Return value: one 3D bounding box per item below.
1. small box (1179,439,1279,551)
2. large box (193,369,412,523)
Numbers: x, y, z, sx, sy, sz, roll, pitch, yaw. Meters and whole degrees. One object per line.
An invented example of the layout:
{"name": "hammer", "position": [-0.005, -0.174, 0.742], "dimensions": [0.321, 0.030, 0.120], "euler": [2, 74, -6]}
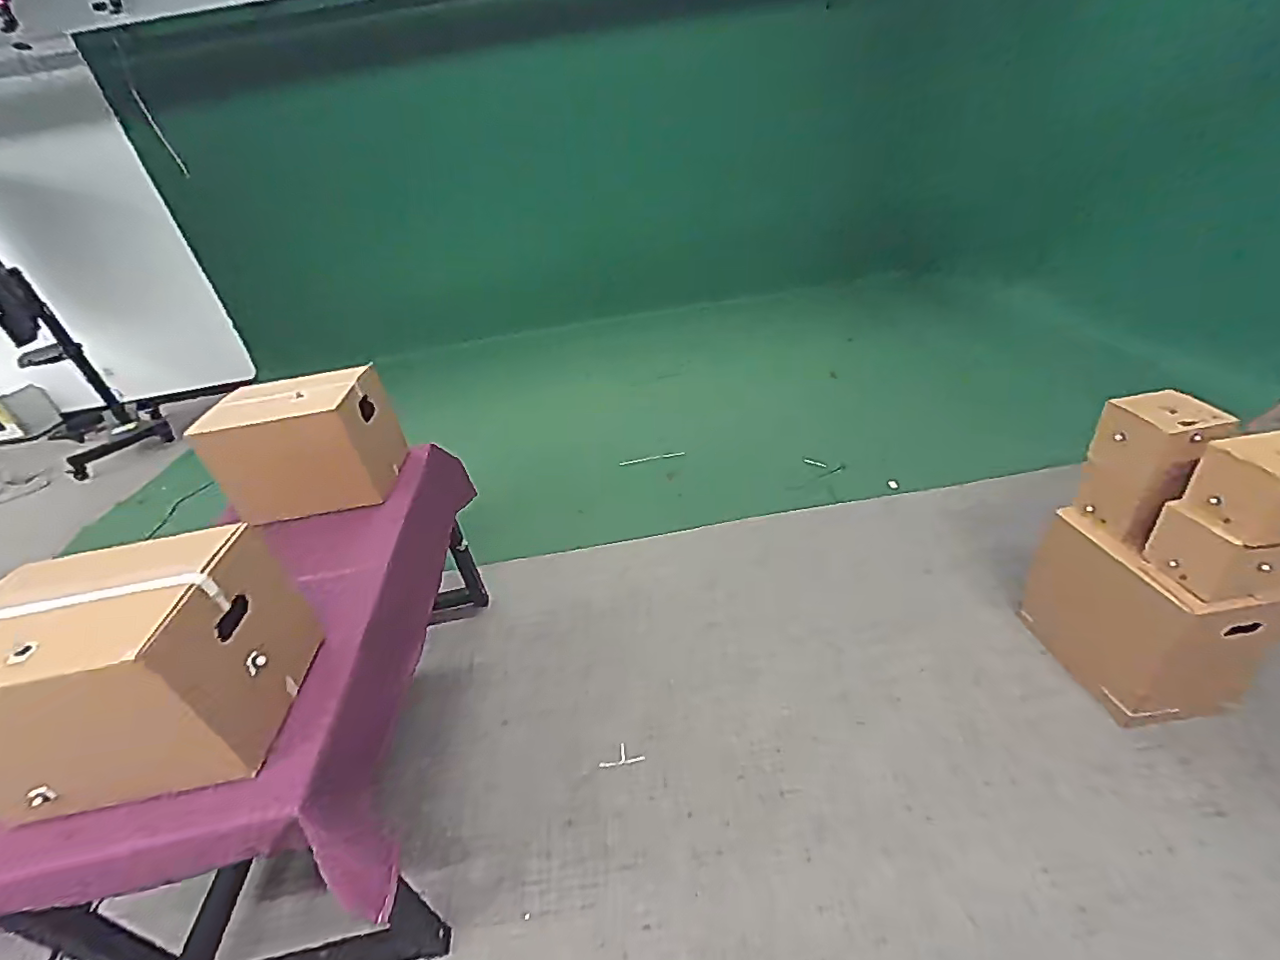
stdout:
{"name": "small box", "position": [1.334, 0.031, 1.157], "dimensions": [0.179, 0.176, 0.168], "euler": [-8, 31, 1]}
{"name": "large box", "position": [-0.960, -0.106, 1.604], "dimensions": [0.408, 0.320, 0.320], "euler": [-9, 33, -1]}
